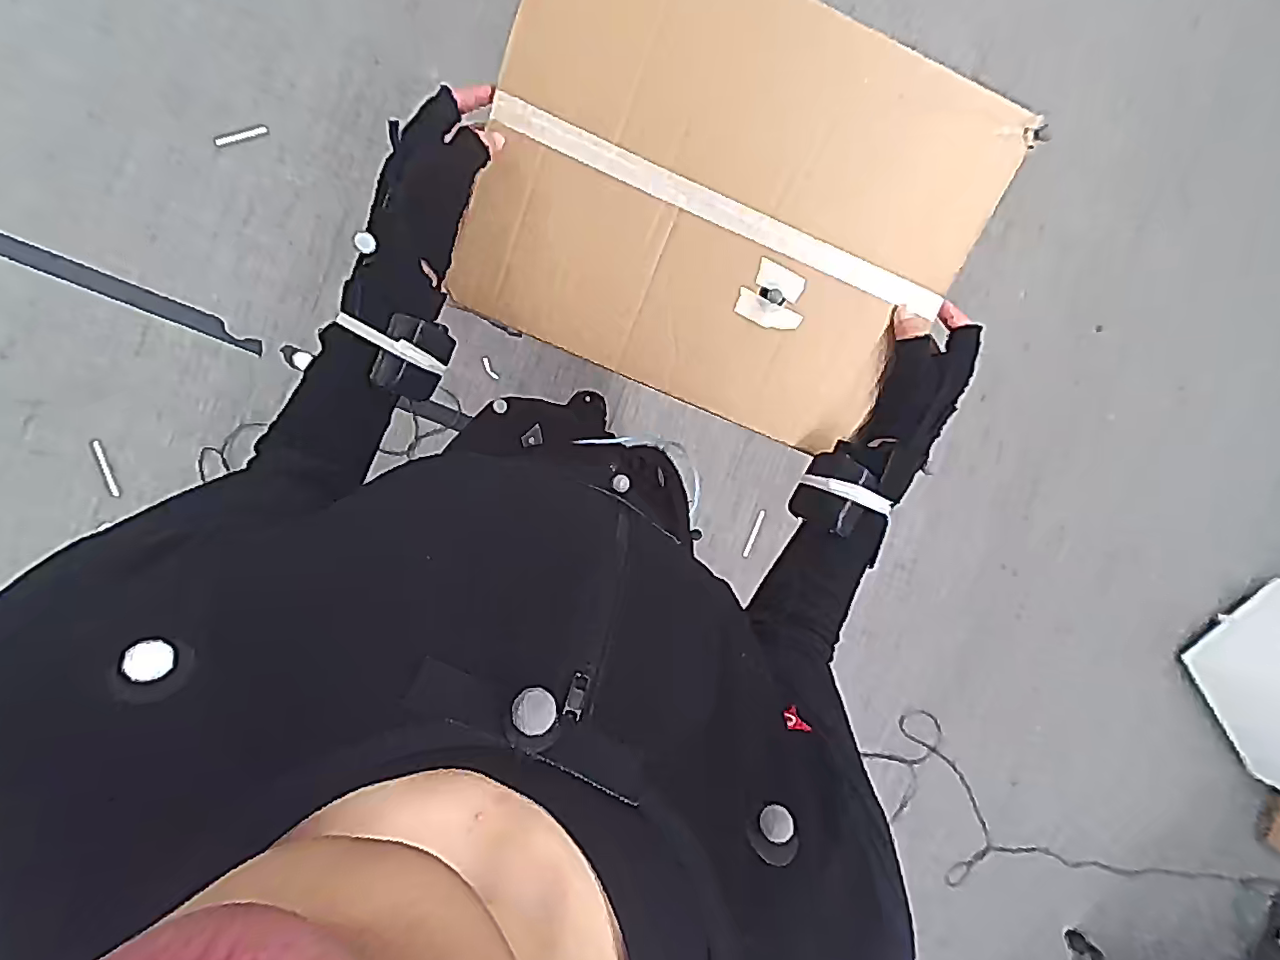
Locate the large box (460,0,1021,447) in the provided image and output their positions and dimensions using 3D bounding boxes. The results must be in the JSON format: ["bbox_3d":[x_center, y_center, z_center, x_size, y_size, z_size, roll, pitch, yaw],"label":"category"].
[{"bbox_3d":[0.074,-0.281,0.606,0.408,0.320,0.320,22,108,-7],"label":"large box"}]
